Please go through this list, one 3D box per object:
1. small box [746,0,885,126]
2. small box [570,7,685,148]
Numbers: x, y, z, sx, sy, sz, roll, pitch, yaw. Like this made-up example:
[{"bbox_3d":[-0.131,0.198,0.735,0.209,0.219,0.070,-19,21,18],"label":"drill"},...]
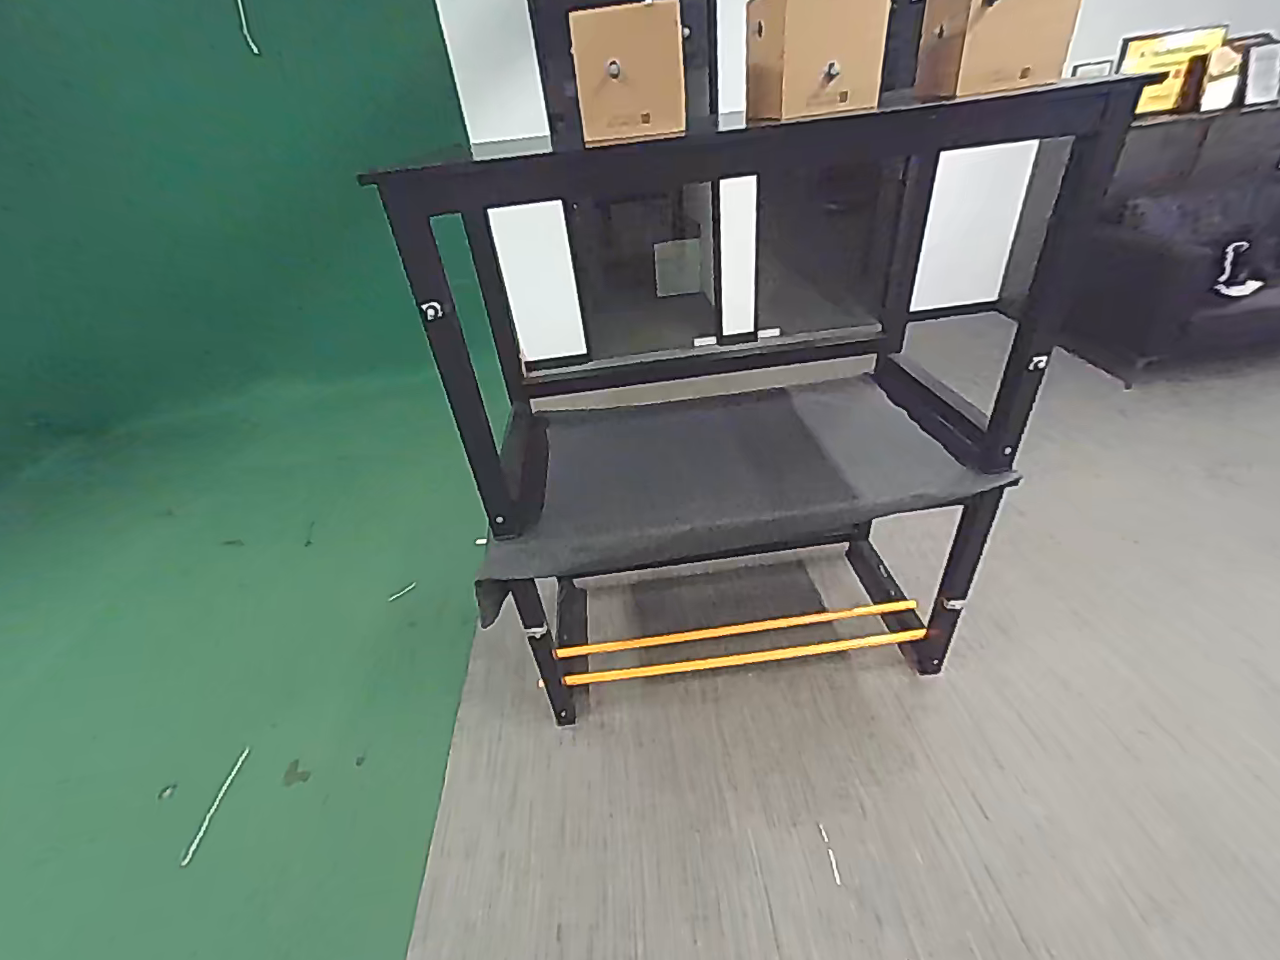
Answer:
[{"bbox_3d":[0.281,-0.702,0.906,0.168,0.176,0.179,-11,34,-4],"label":"small box"},{"bbox_3d":[-0.011,-0.671,0.919,0.168,0.176,0.179,-3,34,6],"label":"small box"}]
